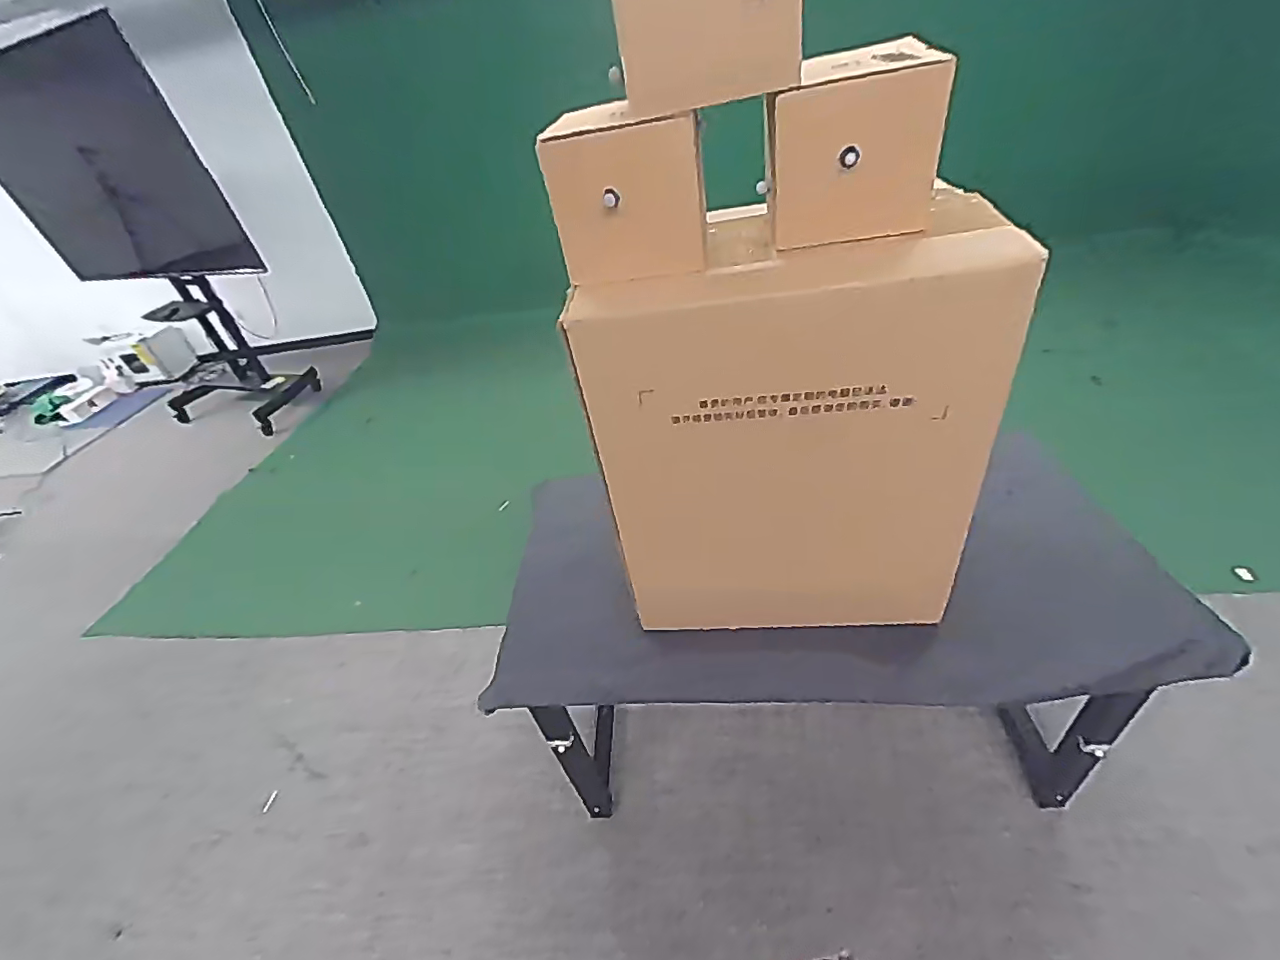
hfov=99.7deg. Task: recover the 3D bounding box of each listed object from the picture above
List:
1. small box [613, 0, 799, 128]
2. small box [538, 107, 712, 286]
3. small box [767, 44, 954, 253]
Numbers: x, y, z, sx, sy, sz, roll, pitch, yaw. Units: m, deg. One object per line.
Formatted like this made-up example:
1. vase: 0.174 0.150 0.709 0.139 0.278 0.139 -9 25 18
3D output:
1. small box: 0.063 -0.493 0.569 0.179 0.176 0.168 -11 40 4
2. small box: -0.005 -0.362 0.689 0.179 0.176 0.168 -3 43 11
3. small box: 0.248 -0.398 0.658 0.179 0.176 0.168 -4 43 12
